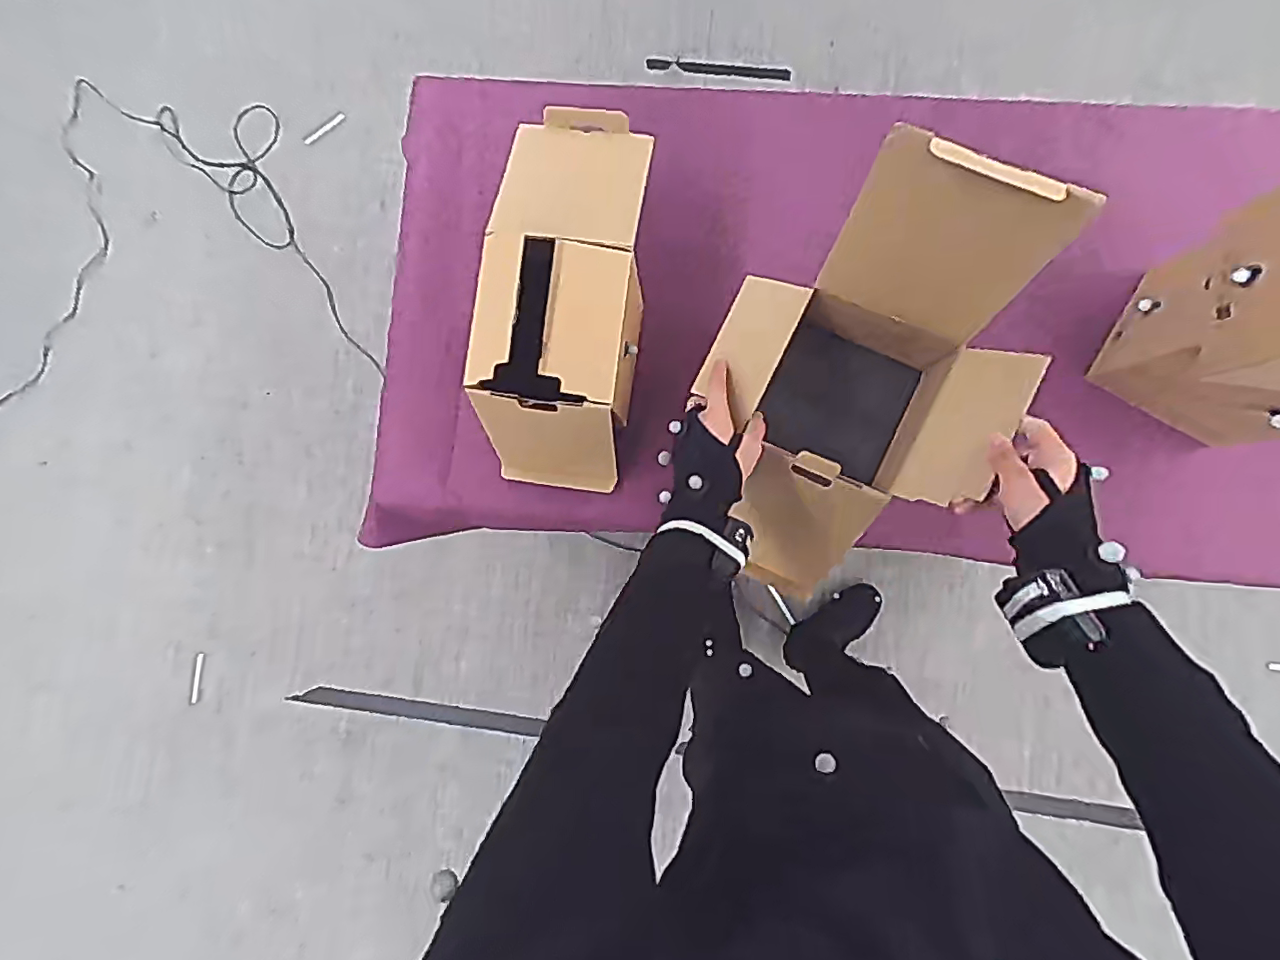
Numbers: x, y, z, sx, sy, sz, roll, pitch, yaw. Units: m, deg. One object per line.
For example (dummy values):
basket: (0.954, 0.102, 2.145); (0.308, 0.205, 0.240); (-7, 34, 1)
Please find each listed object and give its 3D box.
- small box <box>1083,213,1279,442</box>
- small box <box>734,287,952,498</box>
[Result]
small box: (0.672, -0.155, 0.608); (0.179, 0.176, 0.168); (31, 89, 5)
small box: (0.218, -0.086, 0.635); (0.168, 0.176, 0.179); (24, 88, 7)
